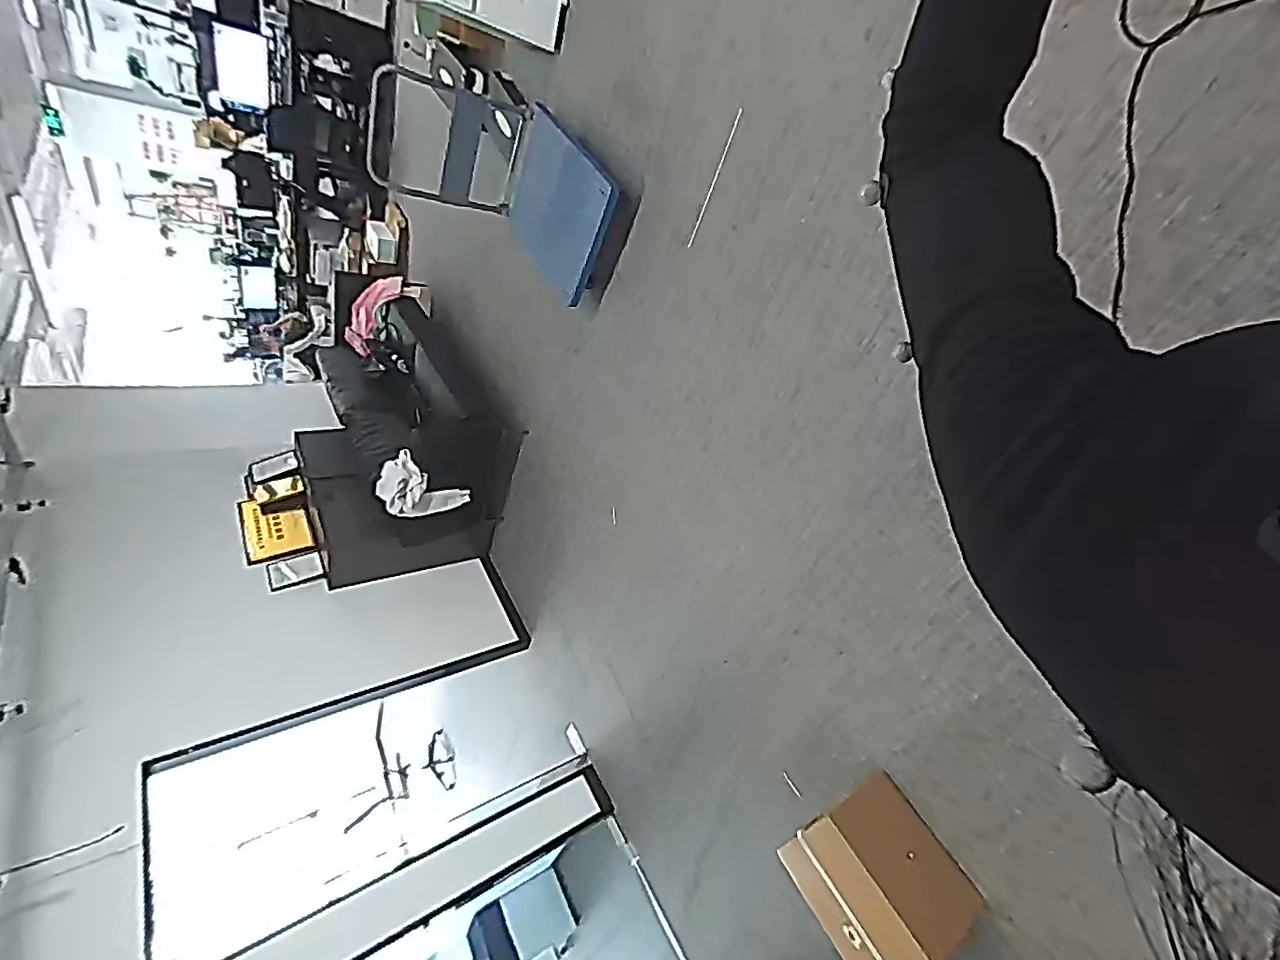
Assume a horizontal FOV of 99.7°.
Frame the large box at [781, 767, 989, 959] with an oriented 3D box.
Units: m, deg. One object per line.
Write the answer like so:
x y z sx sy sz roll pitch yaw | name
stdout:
0.717 1.171 1.619 0.408 0.320 0.320 51 134 32 | large box
